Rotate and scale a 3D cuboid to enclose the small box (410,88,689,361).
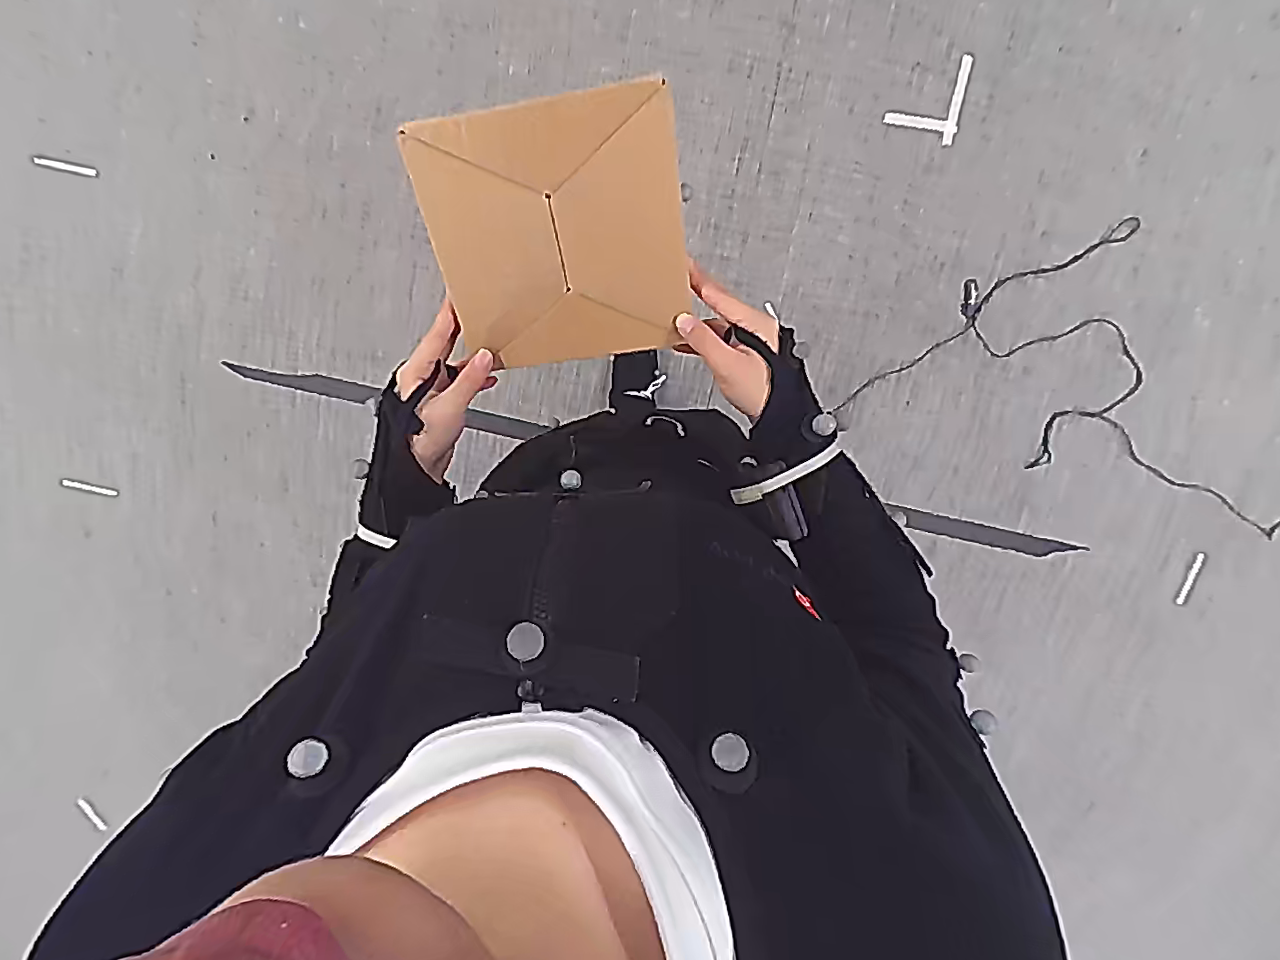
[{"bbox_3d":[-0.058,-0.209,0.447,0.179,0.176,0.168,-6,123,5],"label":"small box"}]
